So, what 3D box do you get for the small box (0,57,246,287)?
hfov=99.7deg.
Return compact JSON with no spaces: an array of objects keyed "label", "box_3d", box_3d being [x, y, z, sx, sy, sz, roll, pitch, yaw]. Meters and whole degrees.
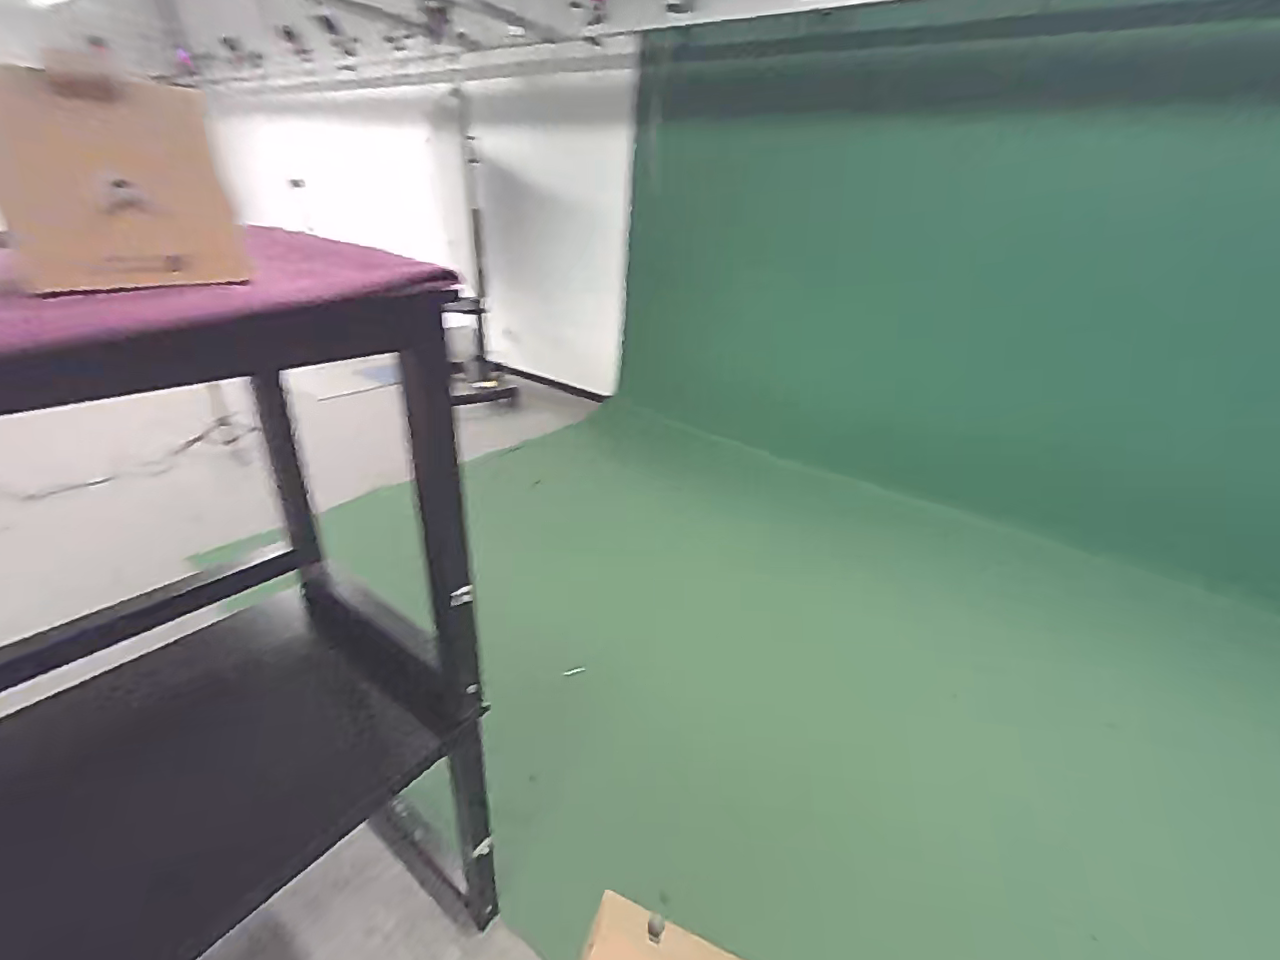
[{"label":"small box","box_3d":[-0.513,-0.283,0.517,0.179,0.176,0.168,24,35,37]}]
